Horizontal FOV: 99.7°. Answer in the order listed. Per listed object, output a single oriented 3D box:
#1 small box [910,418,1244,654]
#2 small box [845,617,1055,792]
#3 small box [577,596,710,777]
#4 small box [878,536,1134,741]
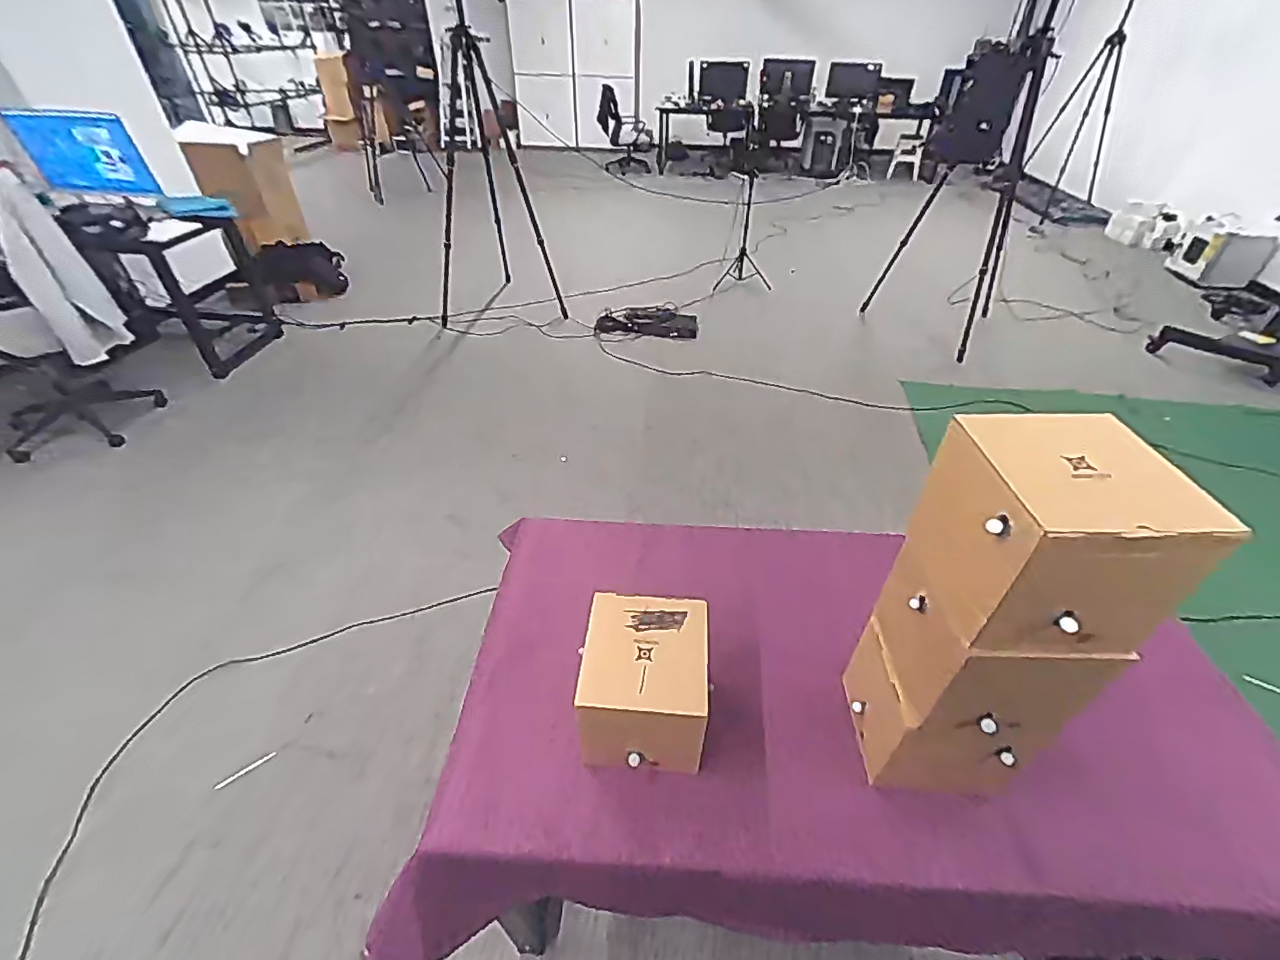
[{"bbox_3d":[0.404,0.054,0.548,0.168,0.176,0.179,0,40,0],"label":"small box"},{"bbox_3d":[0.408,0.311,0.749,0.179,0.176,0.168,2,39,3],"label":"small box"},{"bbox_3d":[0.010,0.292,0.772,0.168,0.176,0.179,3,40,4],"label":"small box"},{"bbox_3d":[0.407,0.184,0.647,0.168,0.176,0.179,1,40,2],"label":"small box"}]
